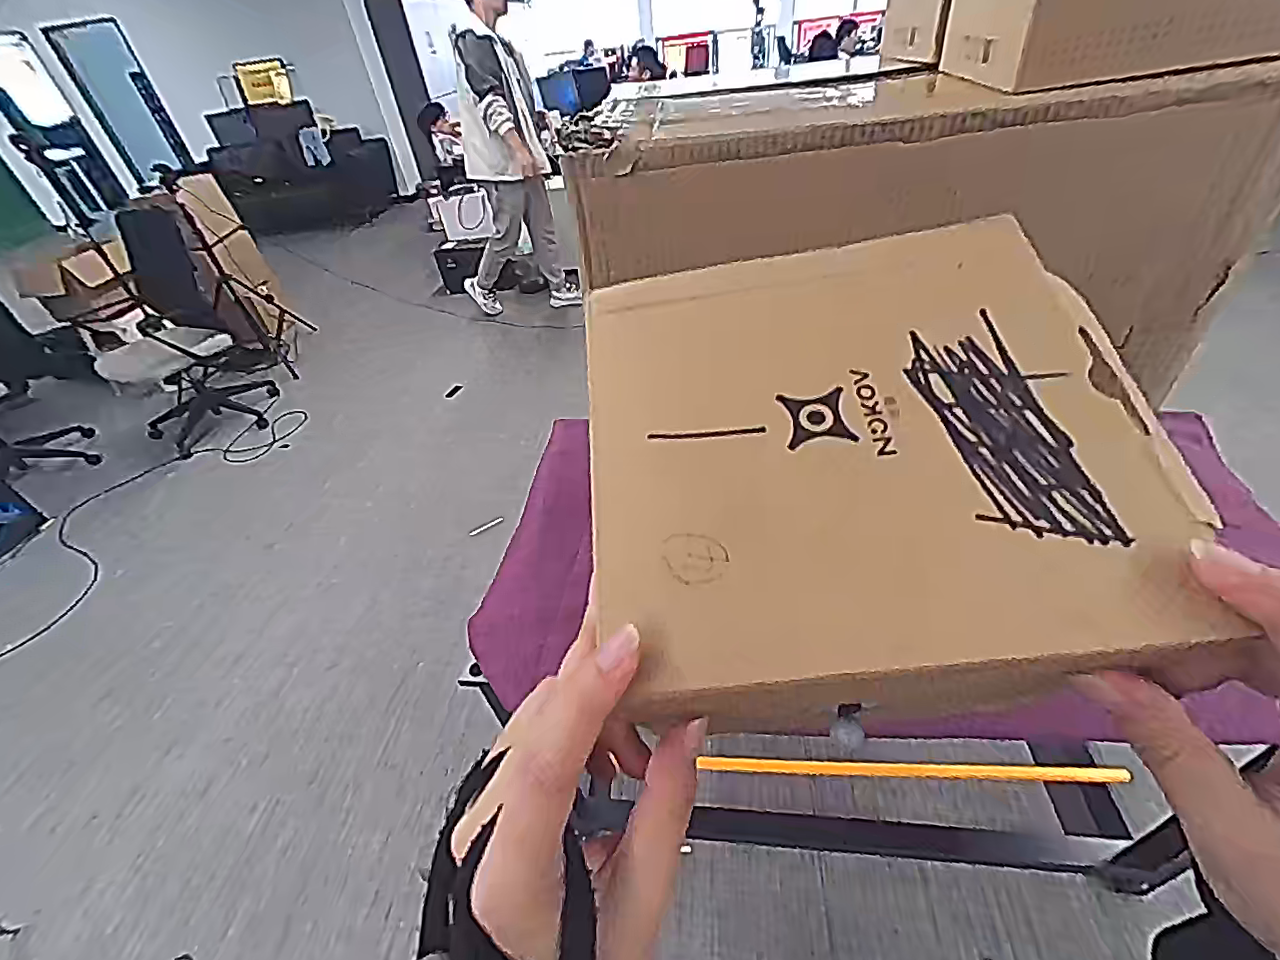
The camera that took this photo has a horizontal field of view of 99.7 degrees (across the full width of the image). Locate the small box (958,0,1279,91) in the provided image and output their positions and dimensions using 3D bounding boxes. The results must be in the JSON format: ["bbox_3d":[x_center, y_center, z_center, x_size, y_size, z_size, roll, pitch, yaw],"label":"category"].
[{"bbox_3d":[0.339,-0.379,0.363,0.179,0.176,0.168,-2,41,9],"label":"small box"}]

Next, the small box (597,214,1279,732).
[{"bbox_3d":[0.083,0.016,0.249,0.179,0.176,0.168,-8,60,5],"label":"small box"}]
